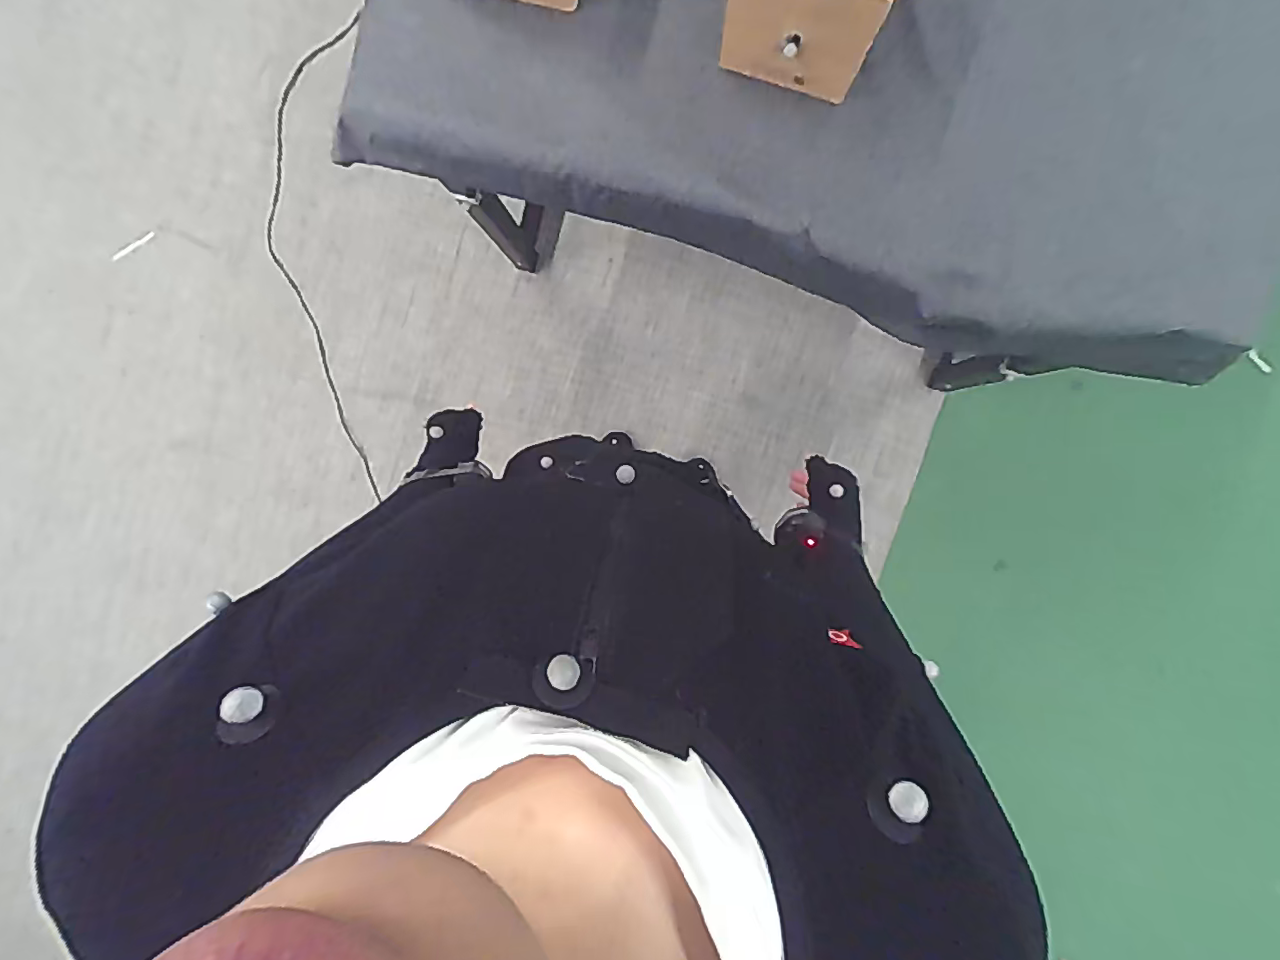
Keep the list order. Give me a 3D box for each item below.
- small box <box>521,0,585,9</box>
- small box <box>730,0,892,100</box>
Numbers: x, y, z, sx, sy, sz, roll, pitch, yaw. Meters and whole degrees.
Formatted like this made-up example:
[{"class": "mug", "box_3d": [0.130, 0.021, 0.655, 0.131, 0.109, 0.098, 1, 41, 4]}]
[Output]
[{"class": "small box", "box_3d": [-0.145, -0.697, 0.619, 0.179, 0.176, 0.168, 14, 95, 1]}, {"class": "small box", "box_3d": [0.206, -0.579, 0.608, 0.168, 0.176, 0.179, 19, 95, 2]}]
